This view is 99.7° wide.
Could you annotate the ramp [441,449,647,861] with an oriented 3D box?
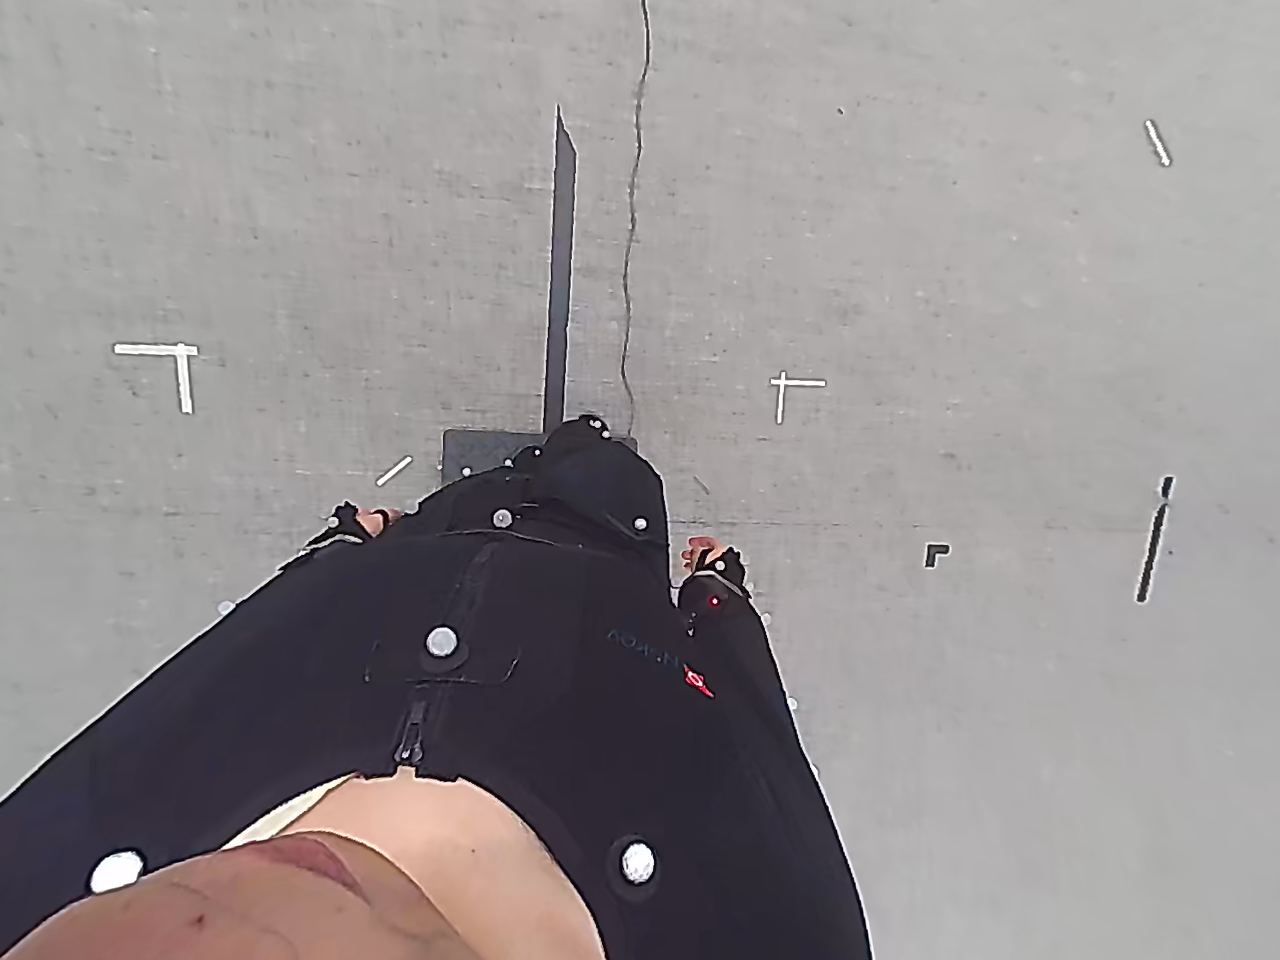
[{"bbox_3d":[-0.231,0.424,1.361,0.509,0.206,0.991,0,96,-6],"label":"ramp"}]
